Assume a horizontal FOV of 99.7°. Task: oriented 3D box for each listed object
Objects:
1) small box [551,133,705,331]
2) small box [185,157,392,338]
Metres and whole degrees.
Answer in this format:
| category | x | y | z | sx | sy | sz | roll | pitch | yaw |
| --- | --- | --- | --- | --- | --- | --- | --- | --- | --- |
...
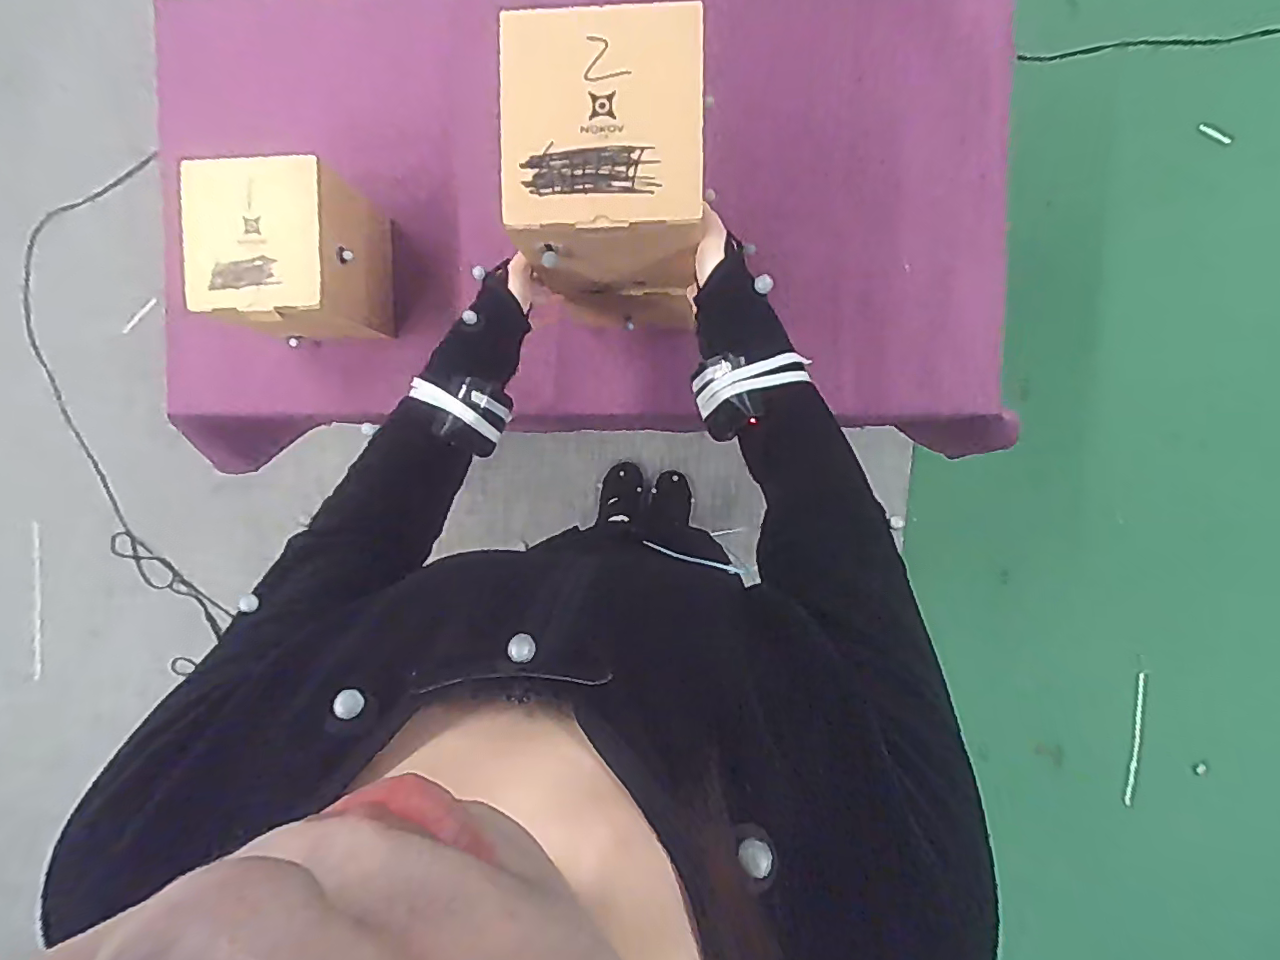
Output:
| category | x | y | z | sx | sy | sz | roll | pitch | yaw |
| --- | --- | --- | --- | --- | --- | --- | --- | --- | --- |
| small box | -0.010 | -0.298 | 0.680 | 0.168 | 0.176 | 0.179 | 3 | 93 | 4 |
| small box | -0.443 | -0.288 | 0.708 | 0.168 | 0.176 | 0.179 | 0 | 92 | 3 |
